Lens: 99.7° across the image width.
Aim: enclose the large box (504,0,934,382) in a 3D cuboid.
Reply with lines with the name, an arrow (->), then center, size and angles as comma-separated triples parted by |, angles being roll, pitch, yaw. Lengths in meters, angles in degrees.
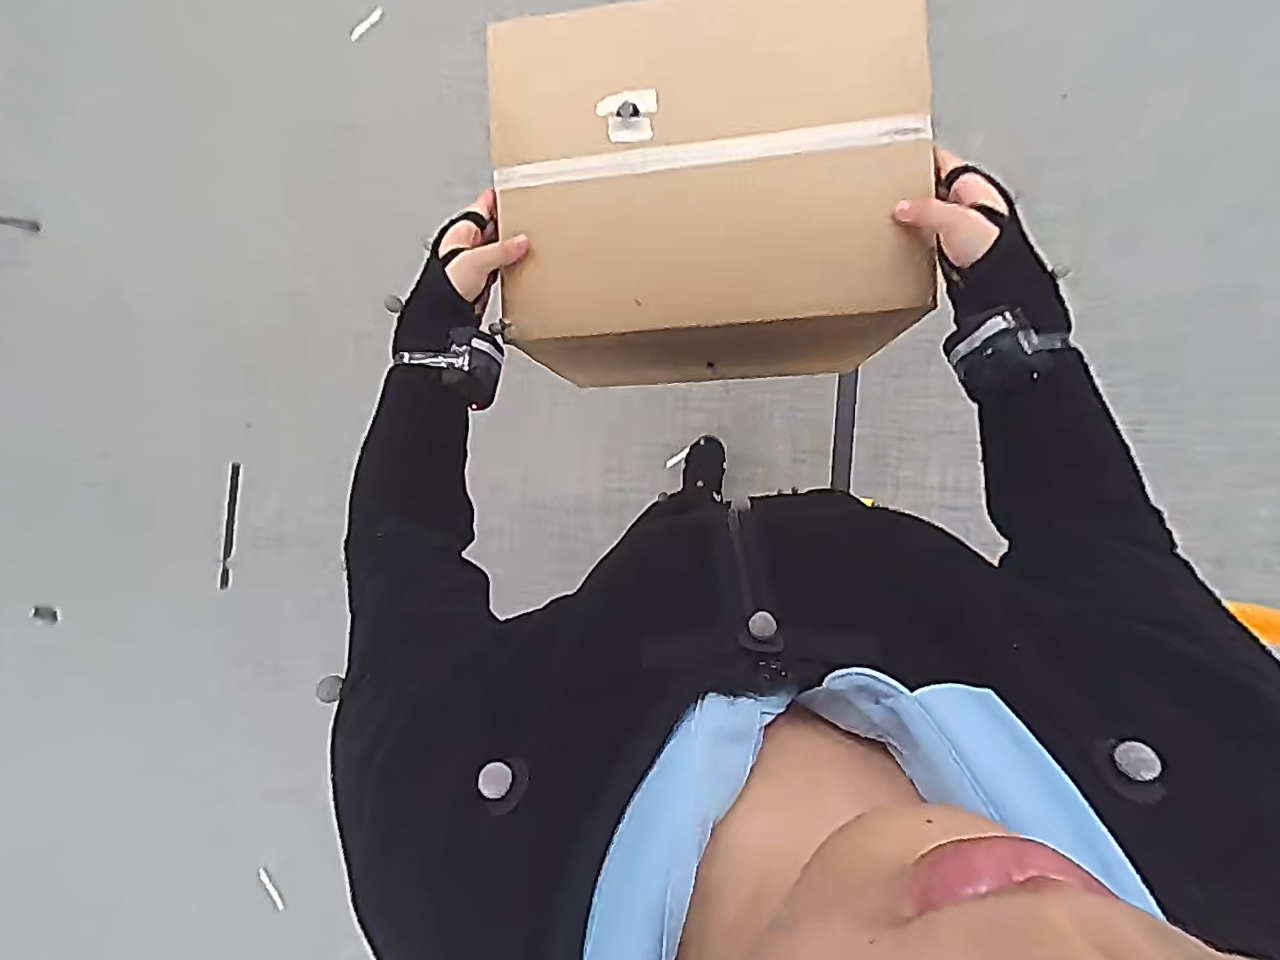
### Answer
large box -> 0.087, -0.307, 0.667 | 0.408, 0.320, 0.320 | -2, 90, 8
